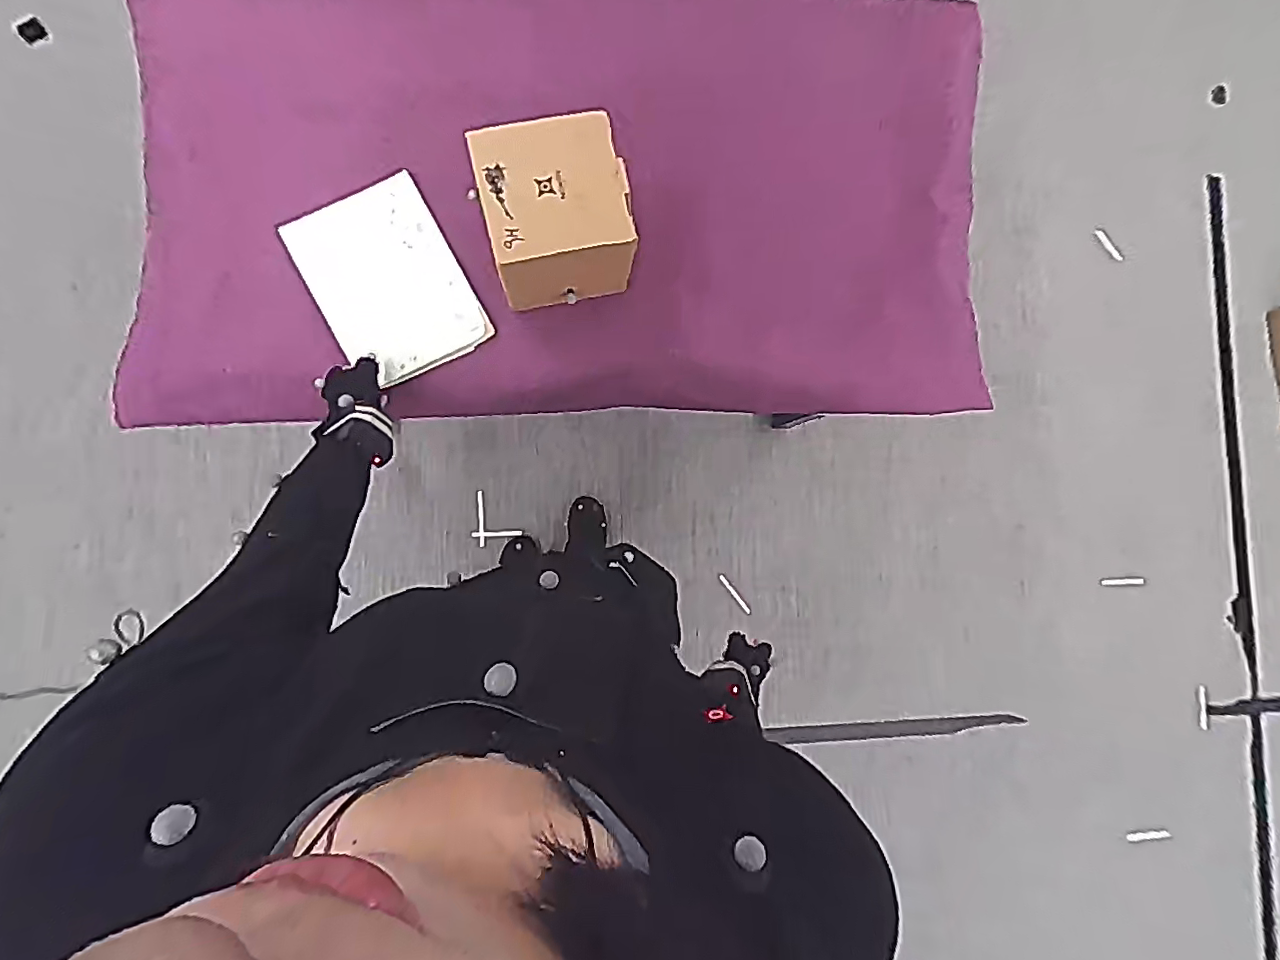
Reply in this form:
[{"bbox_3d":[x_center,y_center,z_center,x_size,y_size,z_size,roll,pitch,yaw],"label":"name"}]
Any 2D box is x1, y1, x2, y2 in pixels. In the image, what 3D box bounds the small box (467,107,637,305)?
[{"bbox_3d":[-0.115,-0.353,0.723,0.179,0.176,0.168,-13,89,-8],"label":"small box"}]
